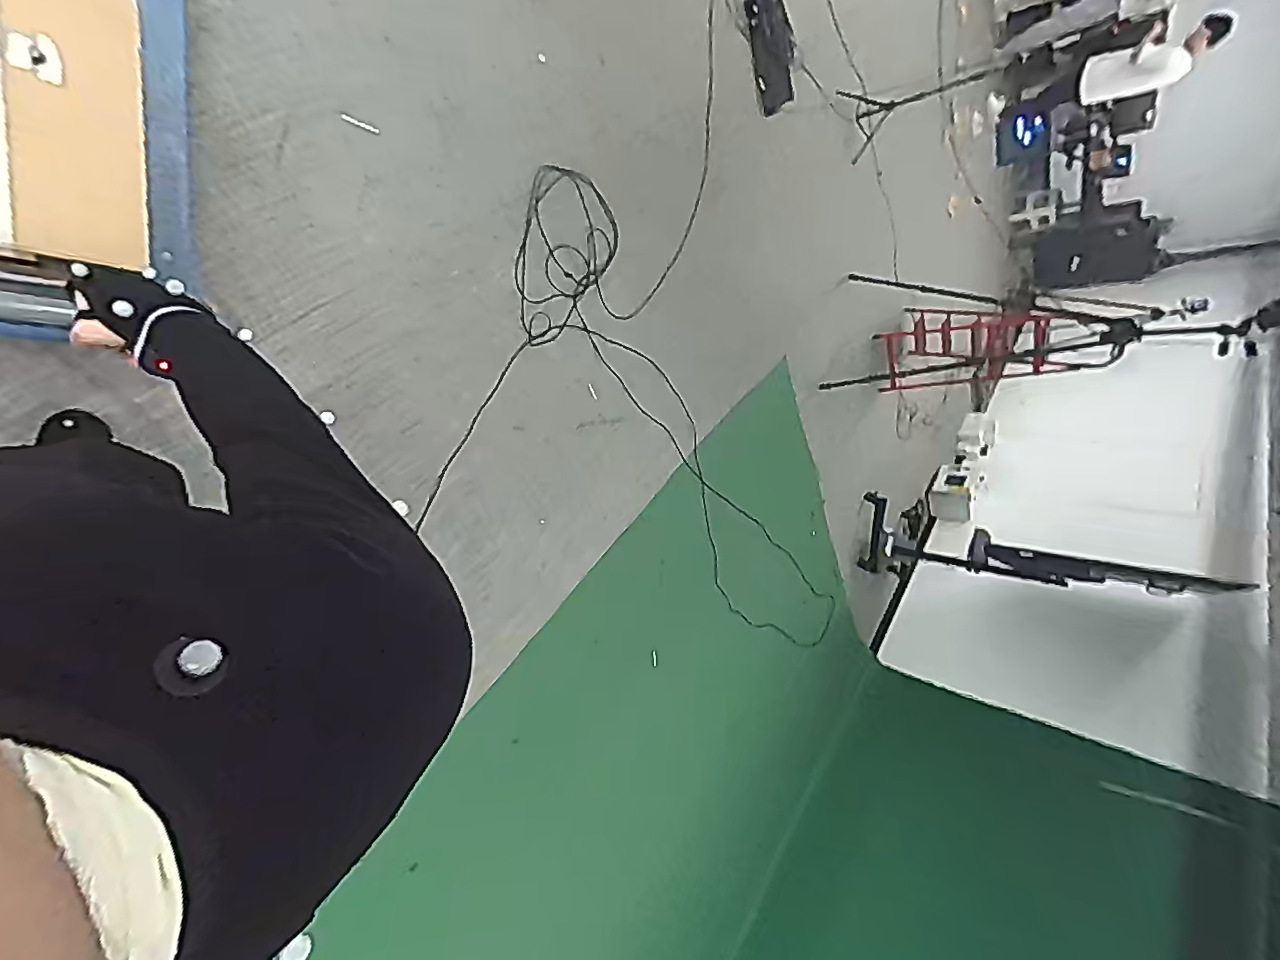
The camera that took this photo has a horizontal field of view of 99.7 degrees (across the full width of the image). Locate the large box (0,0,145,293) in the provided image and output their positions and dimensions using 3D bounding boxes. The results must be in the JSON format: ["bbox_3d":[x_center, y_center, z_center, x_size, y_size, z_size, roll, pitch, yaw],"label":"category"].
[{"bbox_3d":[-1.003,-0.540,0.838,0.320,0.320,0.408,-4,98,-47],"label":"large box"}]
